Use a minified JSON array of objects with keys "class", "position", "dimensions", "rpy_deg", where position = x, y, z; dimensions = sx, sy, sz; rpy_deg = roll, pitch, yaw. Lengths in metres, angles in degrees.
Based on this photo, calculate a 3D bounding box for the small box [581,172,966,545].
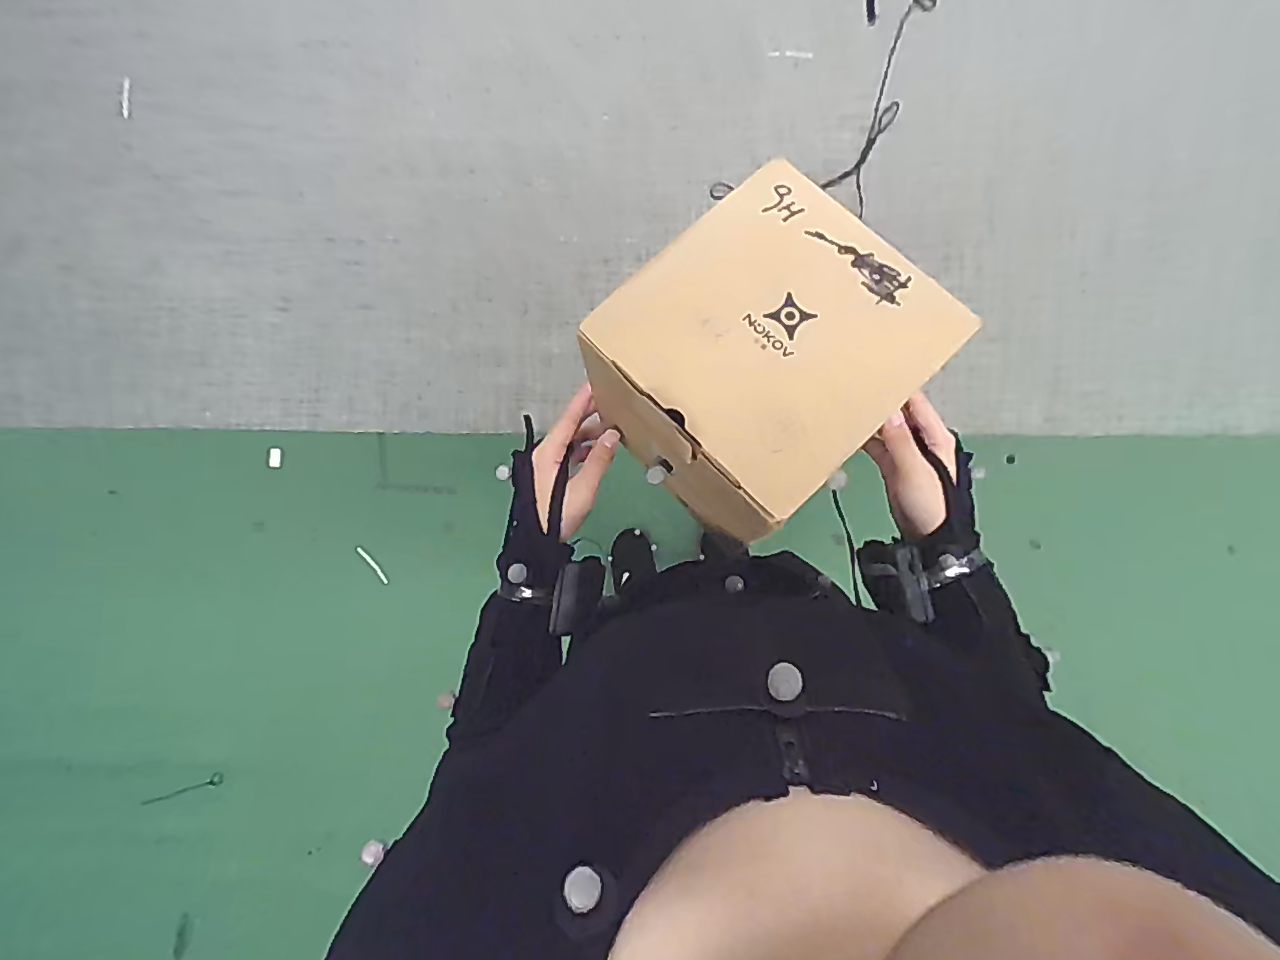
[{"class":"small box","position":[0.083,-0.070,0.404],"dimensions":[0.179,0.176,0.168],"rpy_deg":[-43,79,-8]}]
